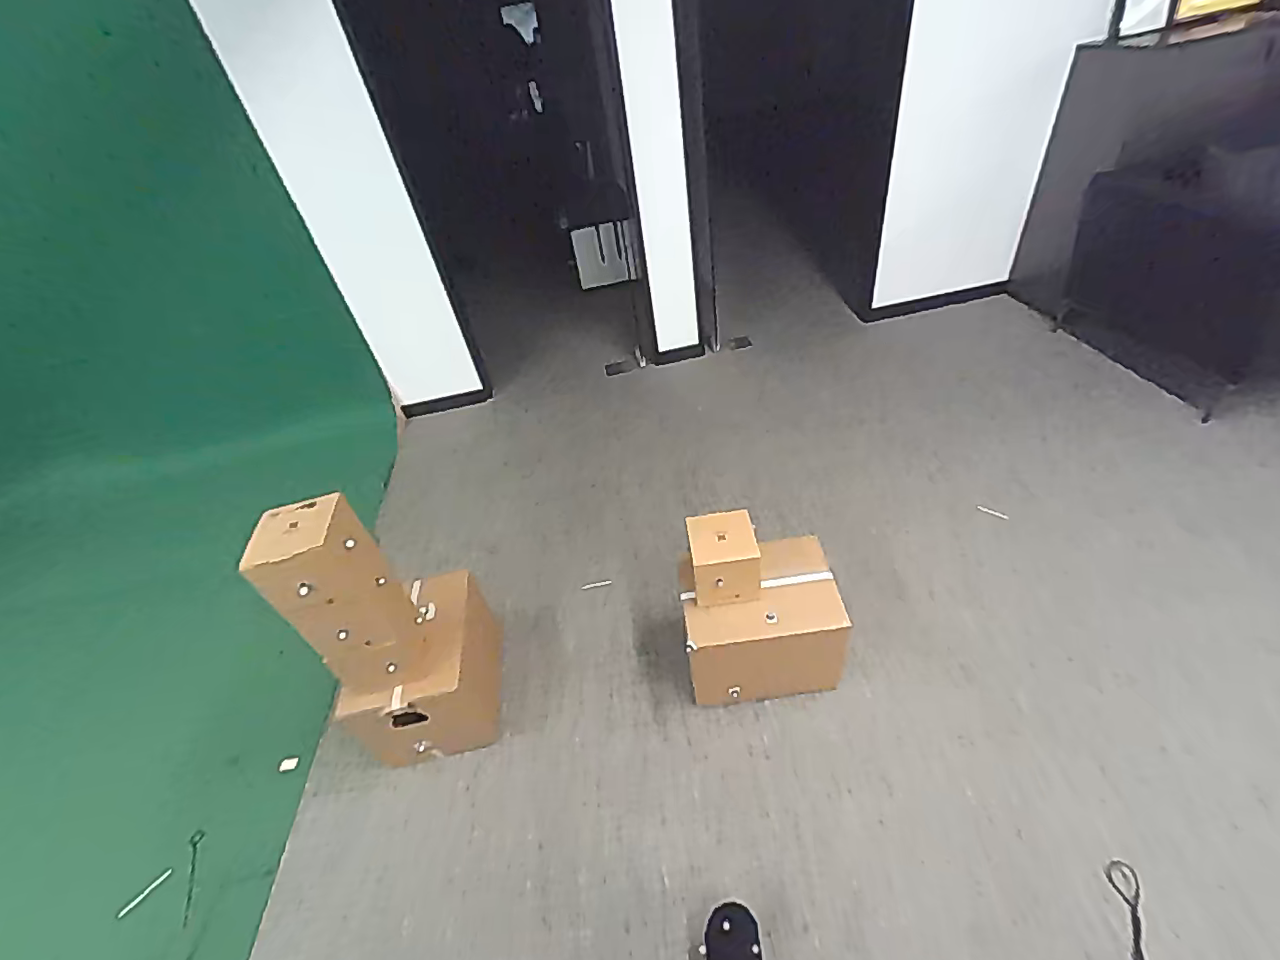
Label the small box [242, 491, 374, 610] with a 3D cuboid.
[{"bbox_3d":[-0.697,0.157,1.162,0.168,0.176,0.179,-15,41,-4],"label":"small box"}]

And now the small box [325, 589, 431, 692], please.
[{"bbox_3d":[-0.650,0.407,1.370,0.179,0.176,0.168,-14,40,-2],"label":"small box"}]

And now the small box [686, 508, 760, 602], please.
[{"bbox_3d":[0.217,0.202,1.413,0.168,0.176,0.179,-8,38,3],"label":"small box"}]

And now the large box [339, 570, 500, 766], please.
[{"bbox_3d":[-0.609,0.541,1.582,0.320,0.320,0.408,-13,40,-2],"label":"large box"}]

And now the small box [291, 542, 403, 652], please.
[{"bbox_3d":[-0.674,0.280,1.269,0.168,0.176,0.179,-16,40,-6],"label":"small box"}]
